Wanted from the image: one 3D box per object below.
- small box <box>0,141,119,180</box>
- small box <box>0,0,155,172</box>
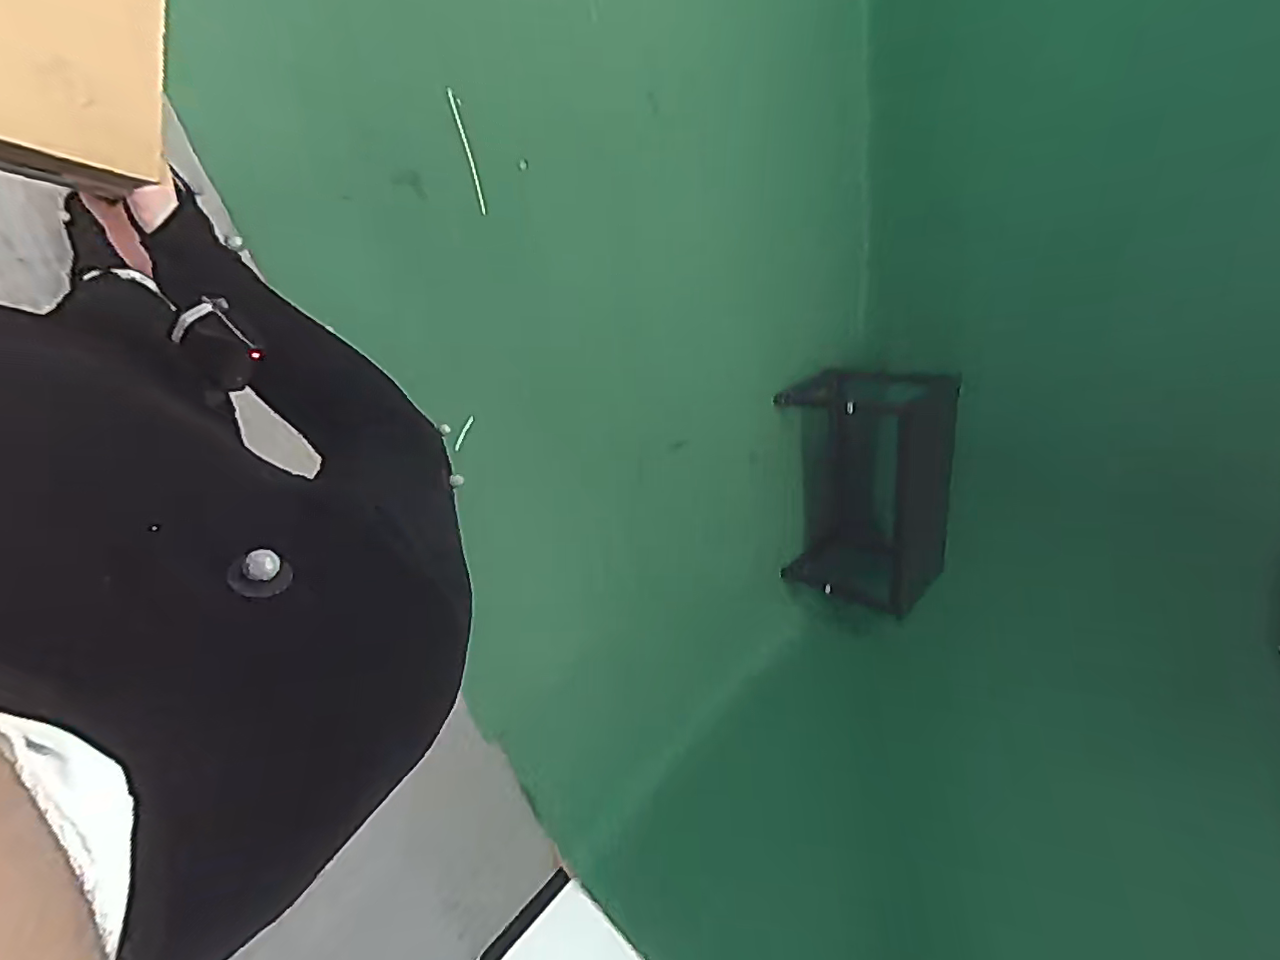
[{"bbox_3d":[-0.469,-0.324,0.368,0.168,0.176,0.179,-4,110,-46],"label":"small box"},{"bbox_3d":[-0.353,-0.274,0.267,0.168,0.176,0.179,-3,110,-45],"label":"small box"}]
